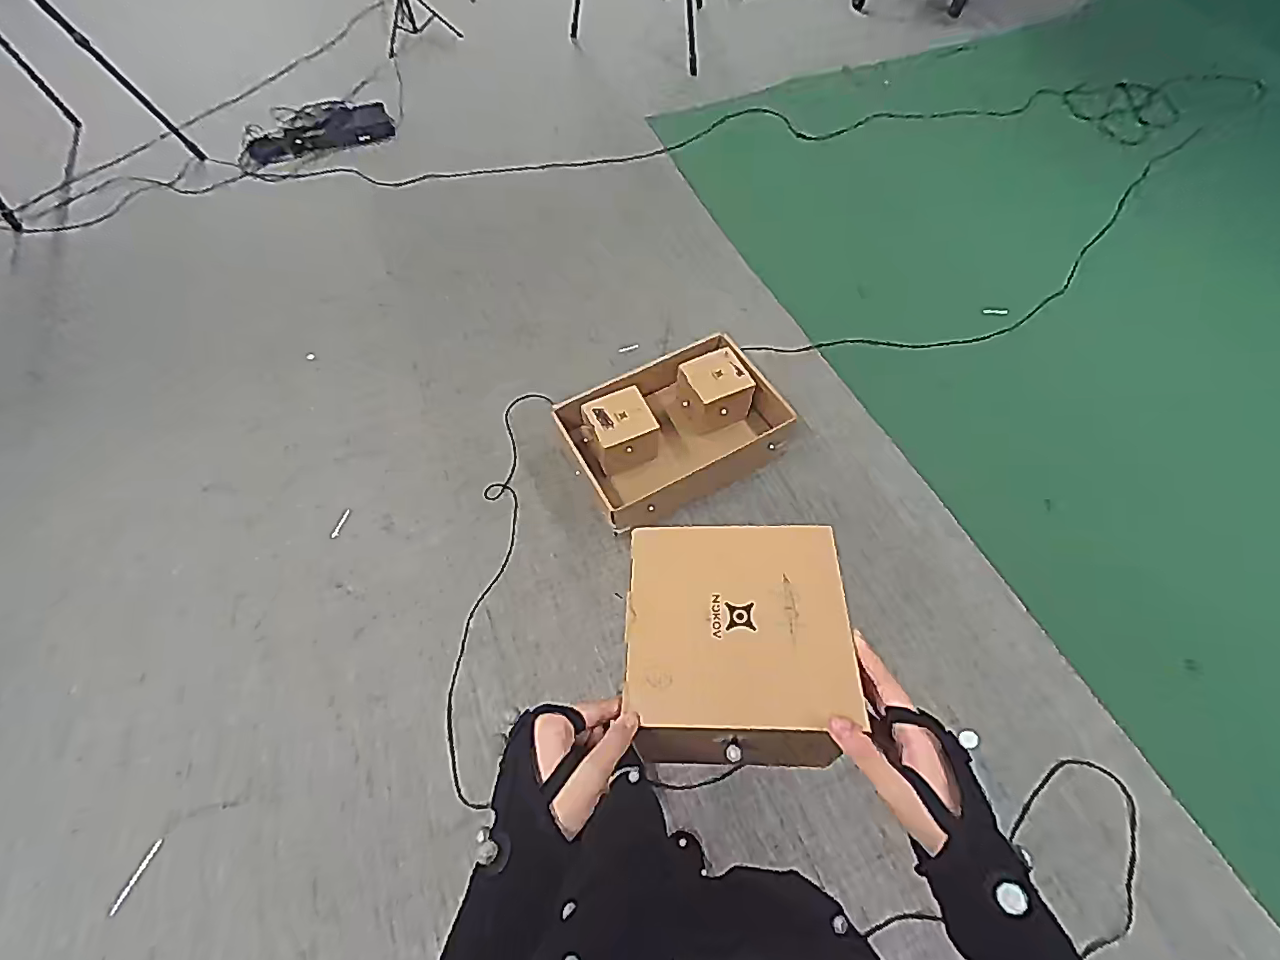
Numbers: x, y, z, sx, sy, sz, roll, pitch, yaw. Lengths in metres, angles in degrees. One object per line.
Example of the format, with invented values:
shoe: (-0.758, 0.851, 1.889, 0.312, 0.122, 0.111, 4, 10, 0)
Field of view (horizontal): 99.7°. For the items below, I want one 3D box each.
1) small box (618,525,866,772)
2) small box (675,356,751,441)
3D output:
small box: (0.082, 0.155, 0.487, 0.179, 0.176, 0.168, 0, 53, 6)
small box: (0.219, -0.246, 1.667, 0.179, 0.176, 0.168, -22, 63, -11)
